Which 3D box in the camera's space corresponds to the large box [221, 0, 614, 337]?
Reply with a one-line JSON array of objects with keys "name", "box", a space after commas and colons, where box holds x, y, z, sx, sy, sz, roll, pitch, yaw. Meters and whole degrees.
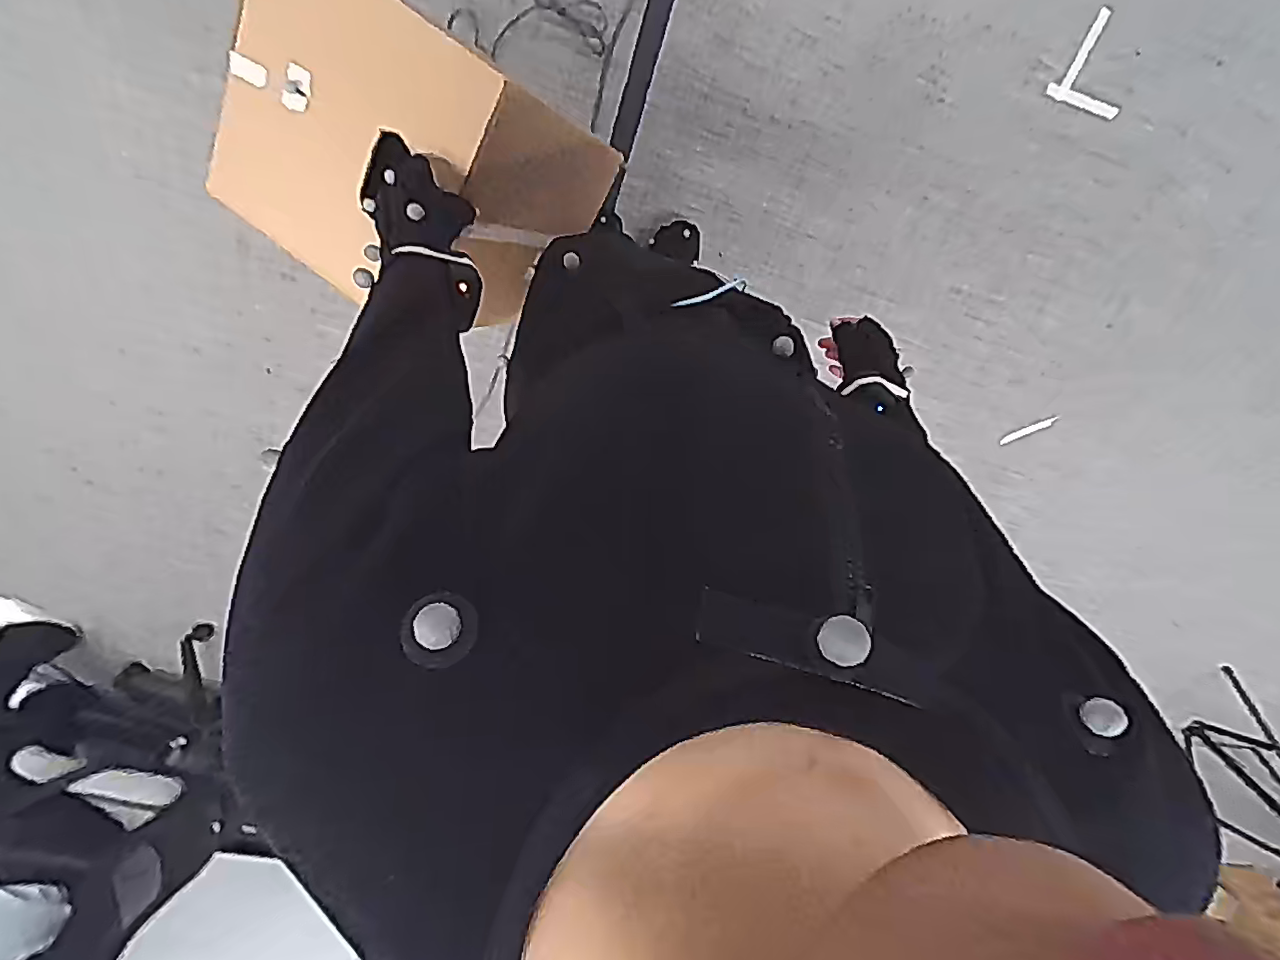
[{"name": "large box", "box": [-0.297, -0.451, 0.801, 0.320, 0.408, 0.320, 37, 116, 0]}]
